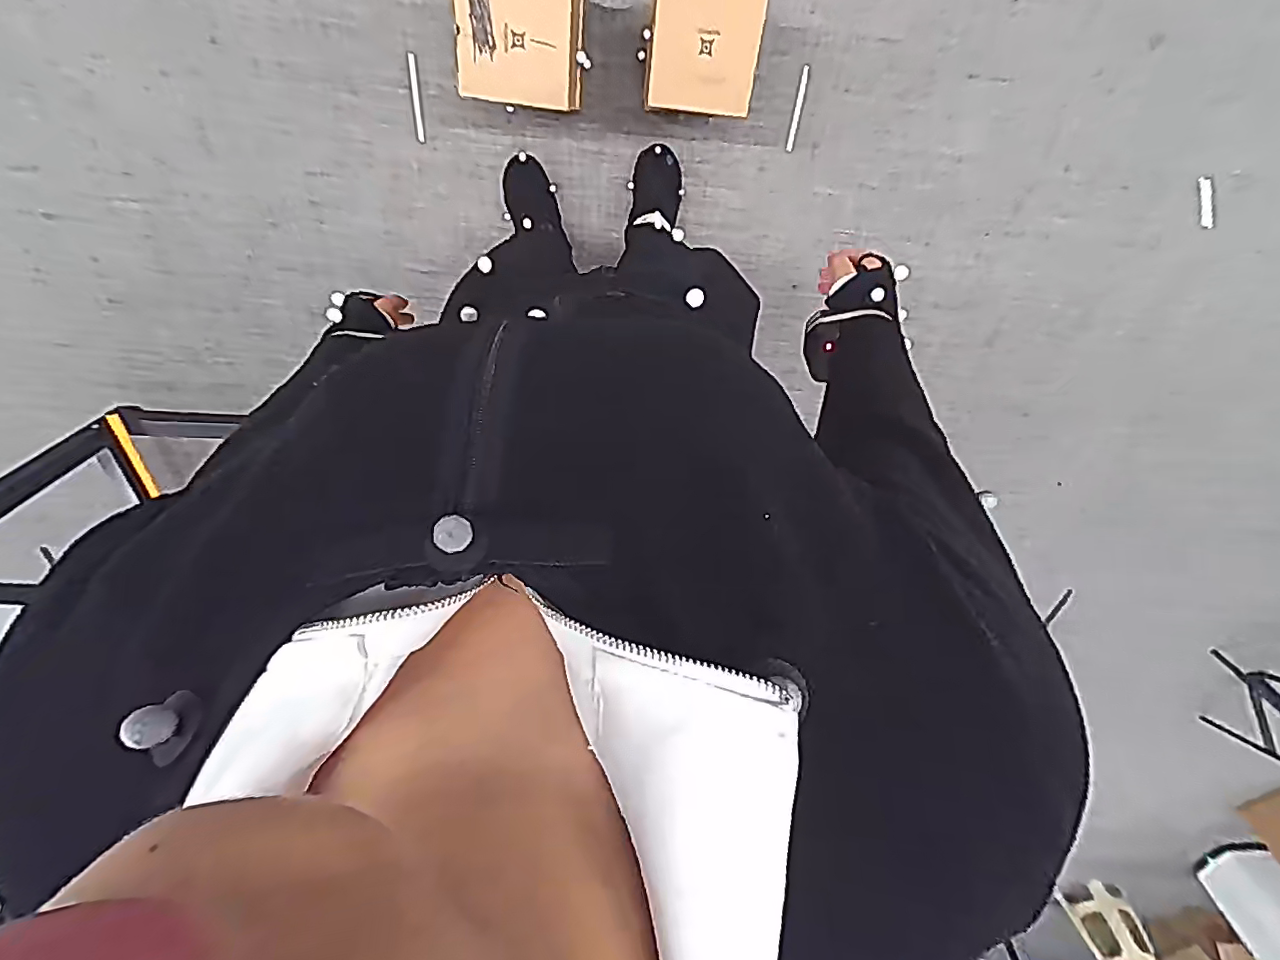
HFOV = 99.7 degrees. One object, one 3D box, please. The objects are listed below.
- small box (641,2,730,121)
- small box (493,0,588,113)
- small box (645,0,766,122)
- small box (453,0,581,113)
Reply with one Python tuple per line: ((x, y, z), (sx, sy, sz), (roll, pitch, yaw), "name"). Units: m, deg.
((0.098, -0.802, 1.040), (0.179, 0.176, 0.168), (2, 126, -3), "small box")
((-0.189, -0.815, 1.021), (0.168, 0.176, 0.179), (5, 127, -5), "small box")
((0.098, -0.716, 0.901), (0.168, 0.176, 0.179), (4, 127, -4), "small box")
((-0.196, -0.716, 0.888), (0.179, 0.176, 0.168), (5, 125, -7), "small box")
